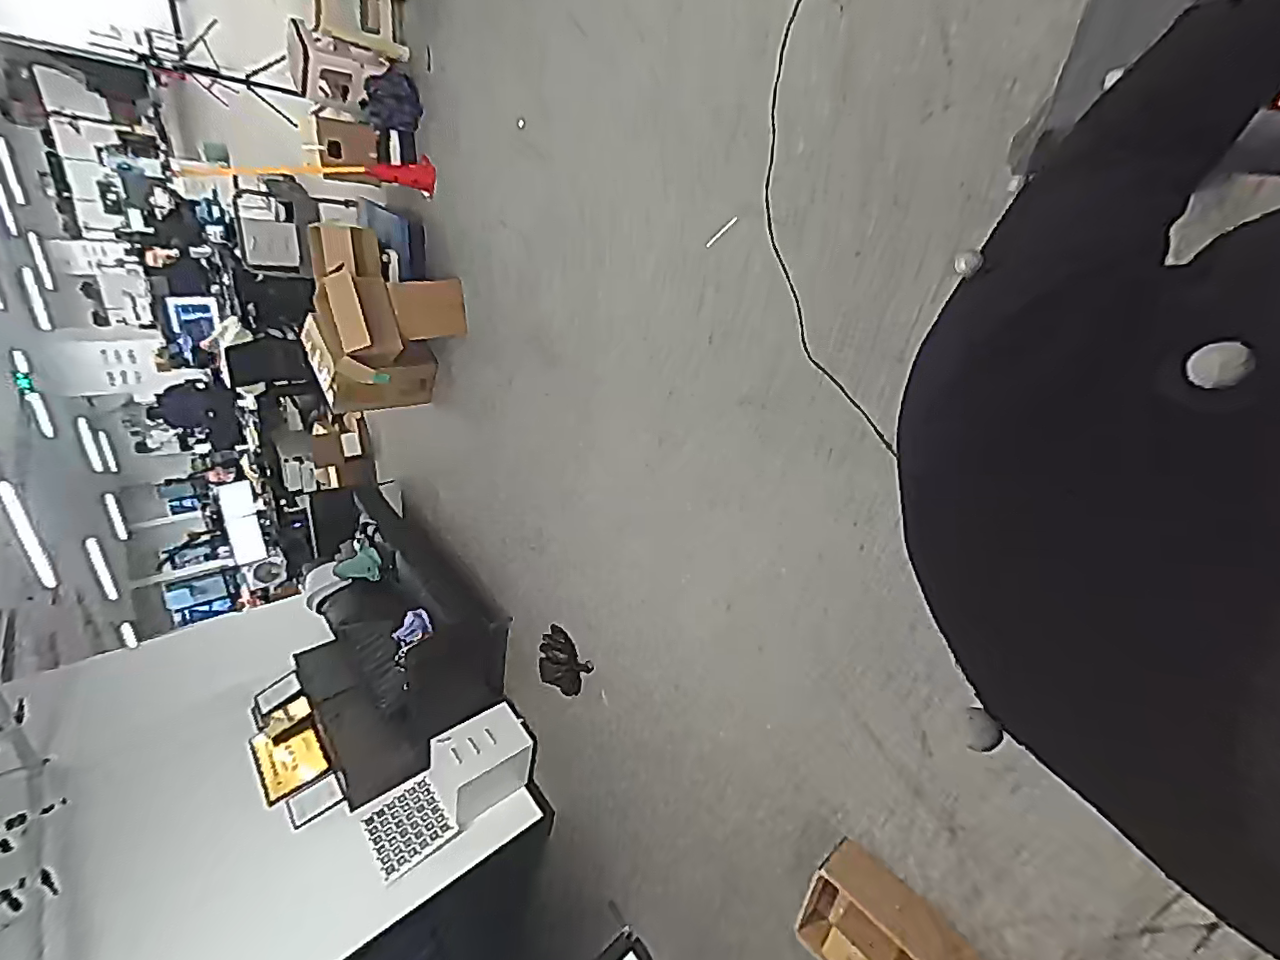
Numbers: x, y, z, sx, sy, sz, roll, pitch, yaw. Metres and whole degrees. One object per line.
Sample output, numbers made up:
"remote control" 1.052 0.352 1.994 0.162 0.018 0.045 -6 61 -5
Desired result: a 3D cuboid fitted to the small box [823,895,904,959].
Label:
"small box" 0.749 1.552 1.804 0.179 0.176 0.168 31 124 40
